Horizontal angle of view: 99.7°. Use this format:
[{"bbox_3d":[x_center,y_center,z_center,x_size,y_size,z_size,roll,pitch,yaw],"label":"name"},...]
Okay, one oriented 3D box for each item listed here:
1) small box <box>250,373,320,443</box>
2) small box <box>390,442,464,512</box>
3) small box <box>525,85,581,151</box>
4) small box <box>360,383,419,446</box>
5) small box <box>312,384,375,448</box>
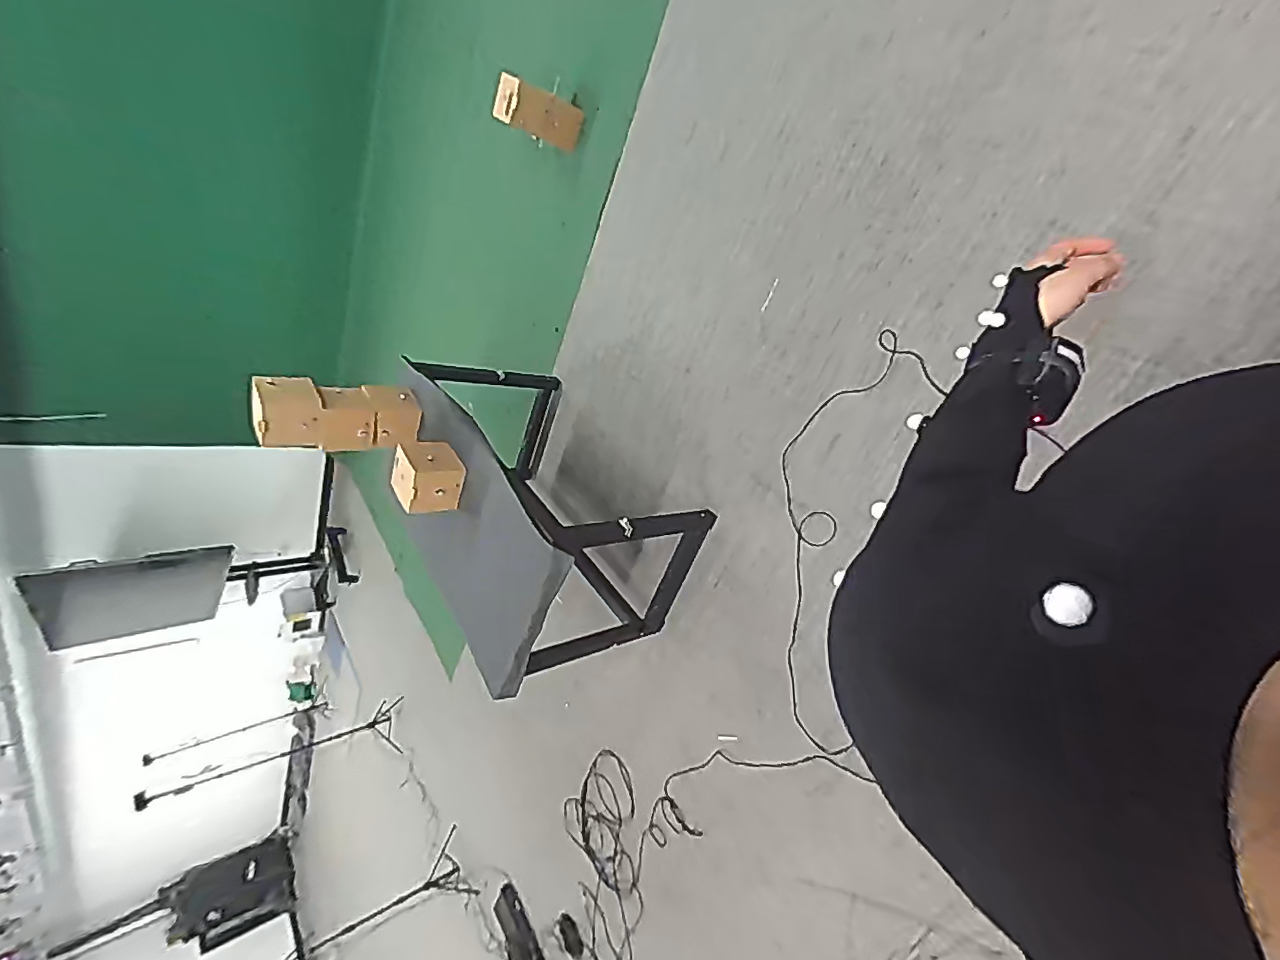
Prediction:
[{"bbox_3d":[-1.176,-0.238,1.789,0.179,0.176,0.168,45,126,34],"label":"small box"},{"bbox_3d":[-0.702,-0.018,1.784,0.179,0.176,0.168,45,124,34],"label":"small box"},{"bbox_3d":[-0.385,-1.619,2.422,0.168,0.176,0.179,47,124,34],"label":"small box"},{"bbox_3d":[-0.943,-0.243,2.019,0.168,0.176,0.179,48,126,32],"label":"small box"},{"bbox_3d":[-1.055,-0.225,1.903,0.179,0.176,0.168,40,123,36],"label":"small box"}]
